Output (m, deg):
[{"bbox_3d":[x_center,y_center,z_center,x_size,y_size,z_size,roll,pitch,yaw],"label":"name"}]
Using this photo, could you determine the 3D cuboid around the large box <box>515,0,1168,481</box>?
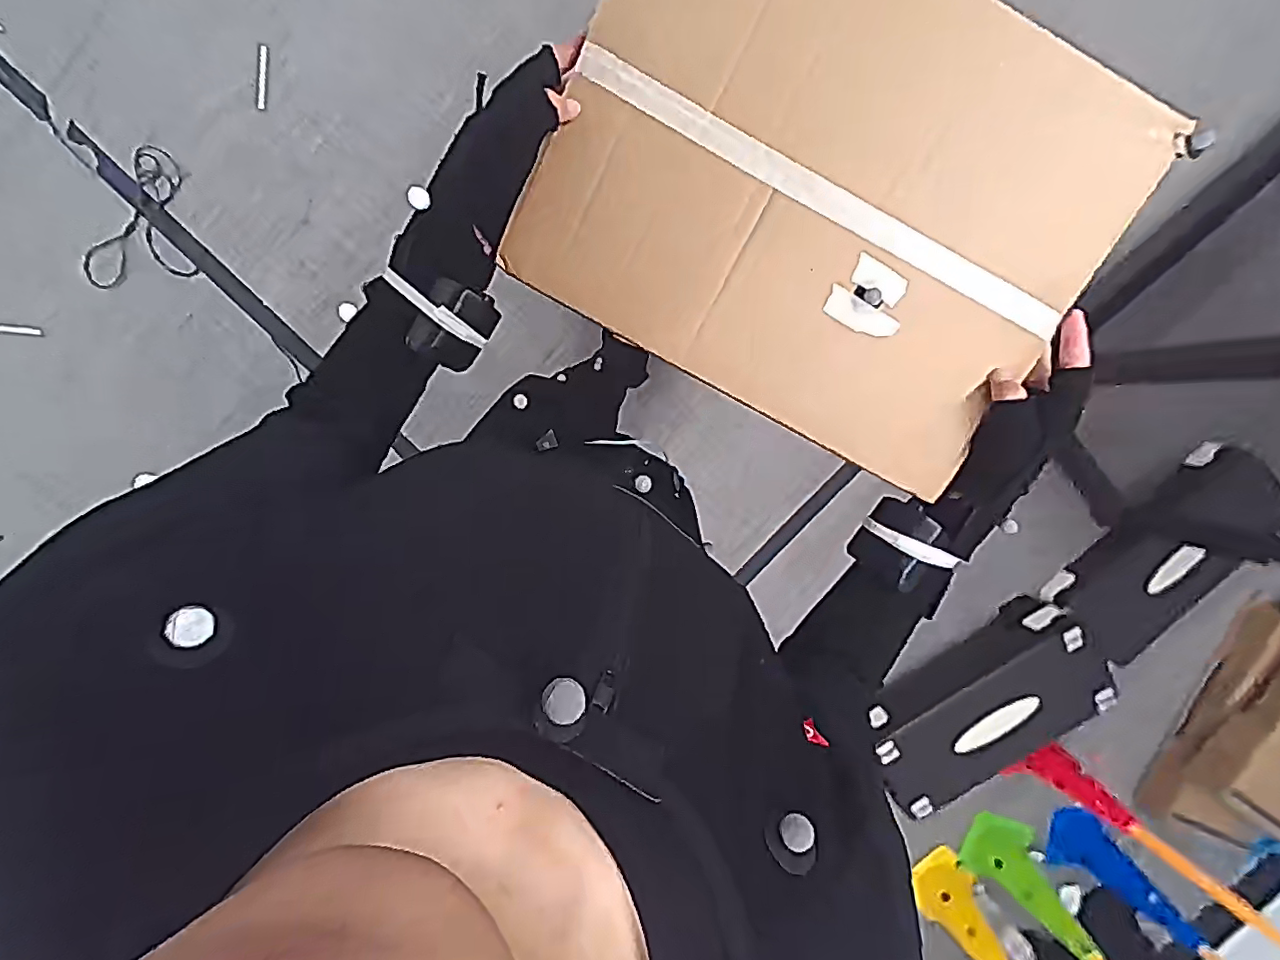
[{"bbox_3d":[0.146,-0.251,0.557,0.408,0.320,0.320,28,104,-4],"label":"large box"}]
